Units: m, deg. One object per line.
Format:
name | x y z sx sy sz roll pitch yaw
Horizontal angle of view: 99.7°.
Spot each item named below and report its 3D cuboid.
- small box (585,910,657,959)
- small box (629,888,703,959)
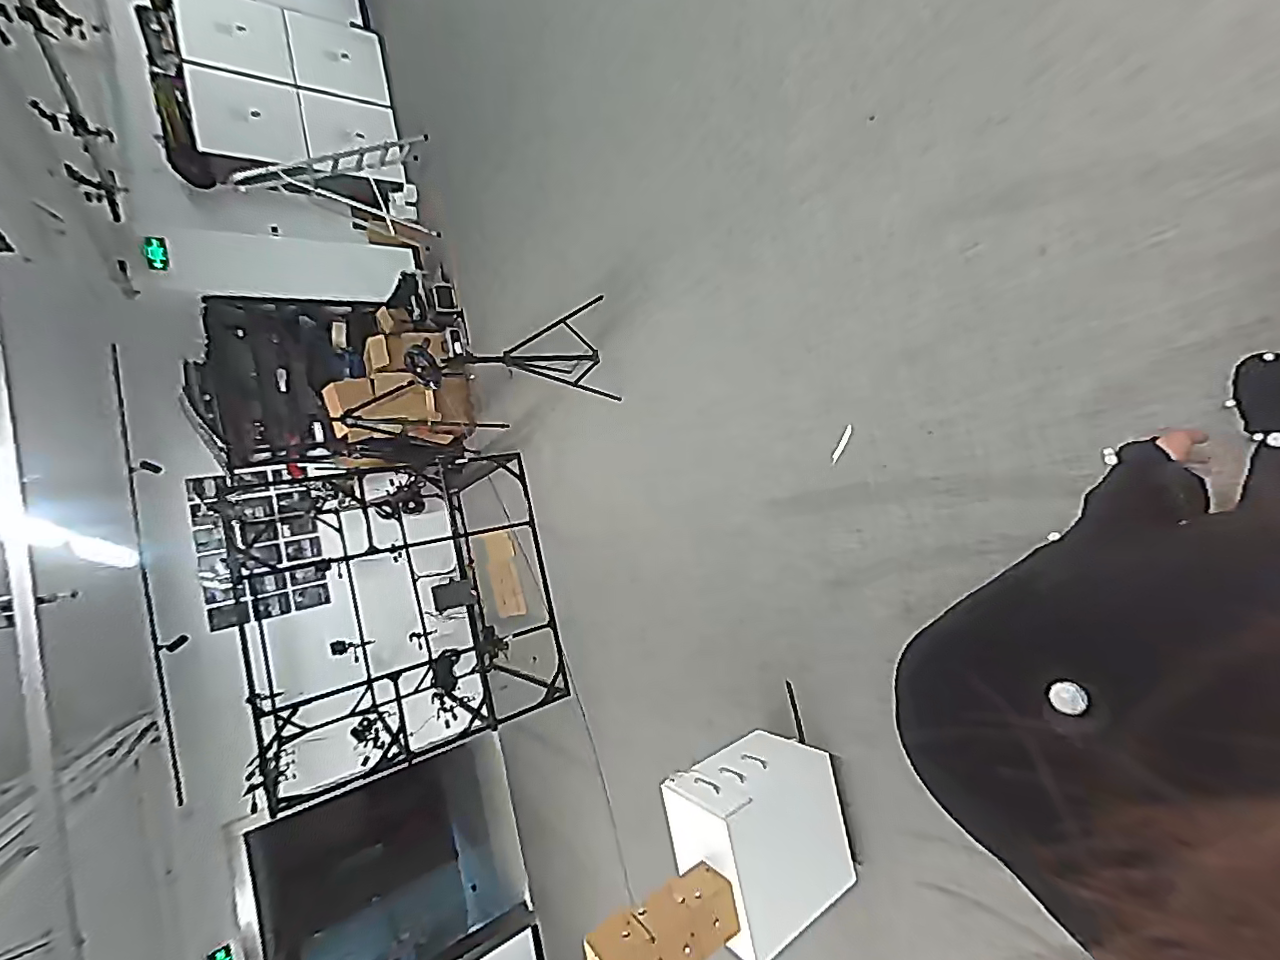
small box | -0.050 1.531 1.712 0.168 0.176 0.179 -14 86 58
small box | 0.086 1.514 1.801 0.179 0.176 0.168 -12 90 58
